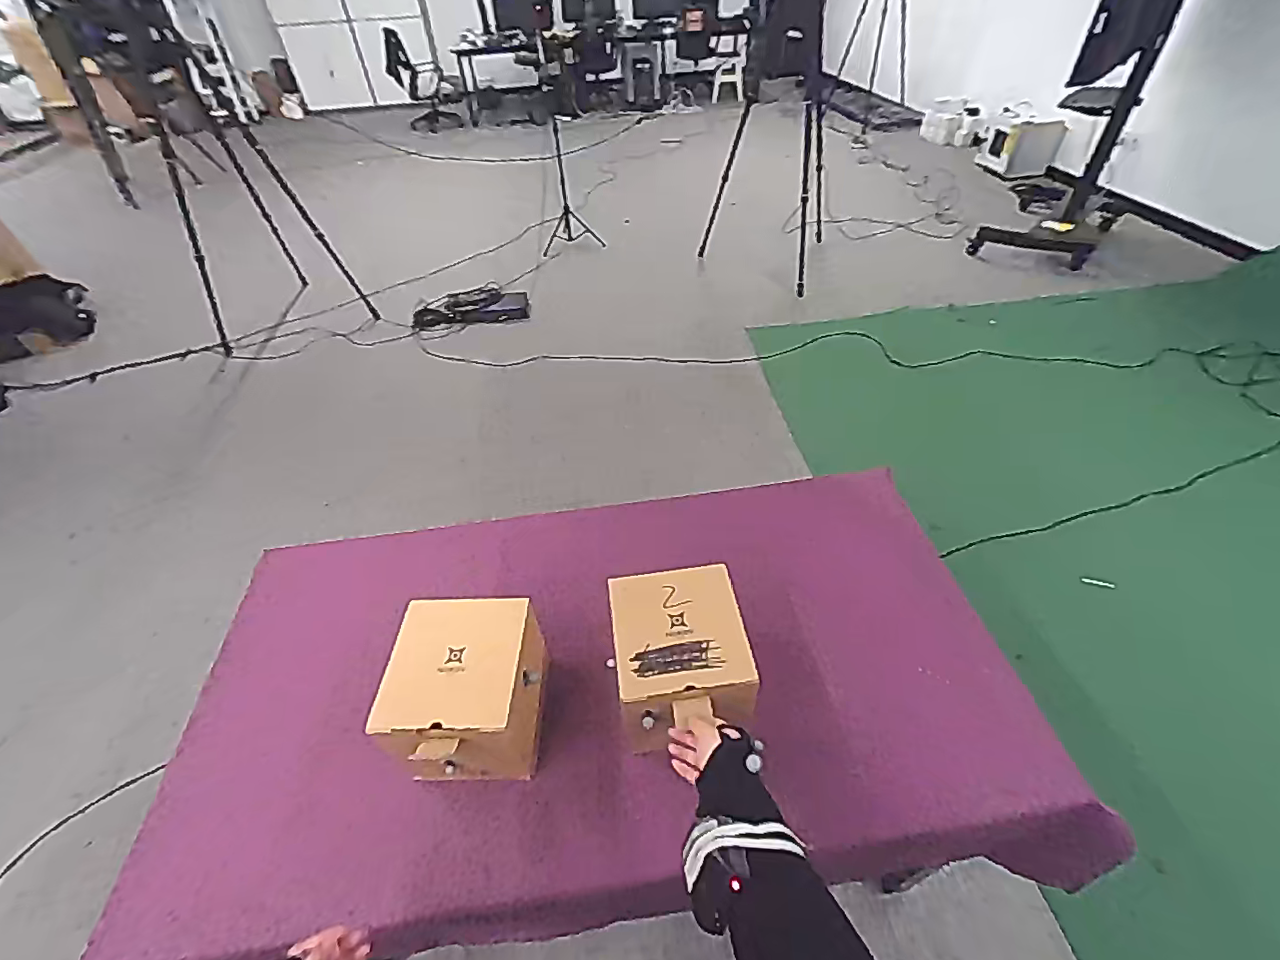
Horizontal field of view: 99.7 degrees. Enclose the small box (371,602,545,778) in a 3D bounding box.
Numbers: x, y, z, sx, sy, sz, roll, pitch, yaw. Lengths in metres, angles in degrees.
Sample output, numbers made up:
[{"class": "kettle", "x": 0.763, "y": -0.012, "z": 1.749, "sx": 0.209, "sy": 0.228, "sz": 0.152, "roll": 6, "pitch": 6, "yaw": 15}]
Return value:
[{"class": "small box", "x": -0.230, "y": 0.288, "z": 0.742, "sx": 0.168, "sy": 0.176, "sz": 0.179, "roll": -2, "pitch": 46, "yaw": 2}]
